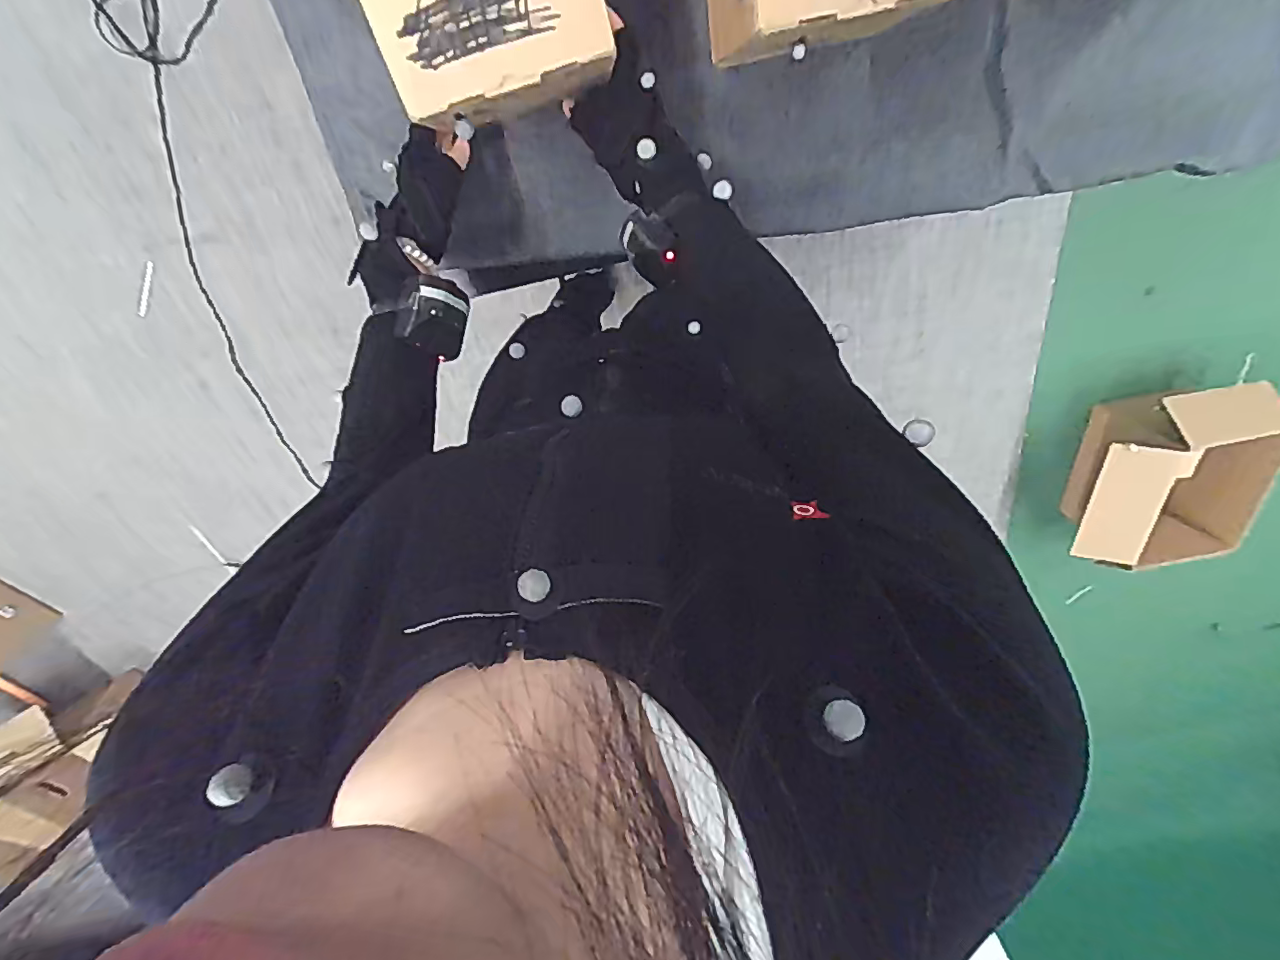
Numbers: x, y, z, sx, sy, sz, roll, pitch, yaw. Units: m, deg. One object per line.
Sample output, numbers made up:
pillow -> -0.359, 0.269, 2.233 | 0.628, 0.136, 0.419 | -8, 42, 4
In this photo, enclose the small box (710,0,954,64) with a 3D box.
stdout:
small box -> 0.148, -0.464, 0.431 | 0.168, 0.176, 0.179 | -12, 123, 0
